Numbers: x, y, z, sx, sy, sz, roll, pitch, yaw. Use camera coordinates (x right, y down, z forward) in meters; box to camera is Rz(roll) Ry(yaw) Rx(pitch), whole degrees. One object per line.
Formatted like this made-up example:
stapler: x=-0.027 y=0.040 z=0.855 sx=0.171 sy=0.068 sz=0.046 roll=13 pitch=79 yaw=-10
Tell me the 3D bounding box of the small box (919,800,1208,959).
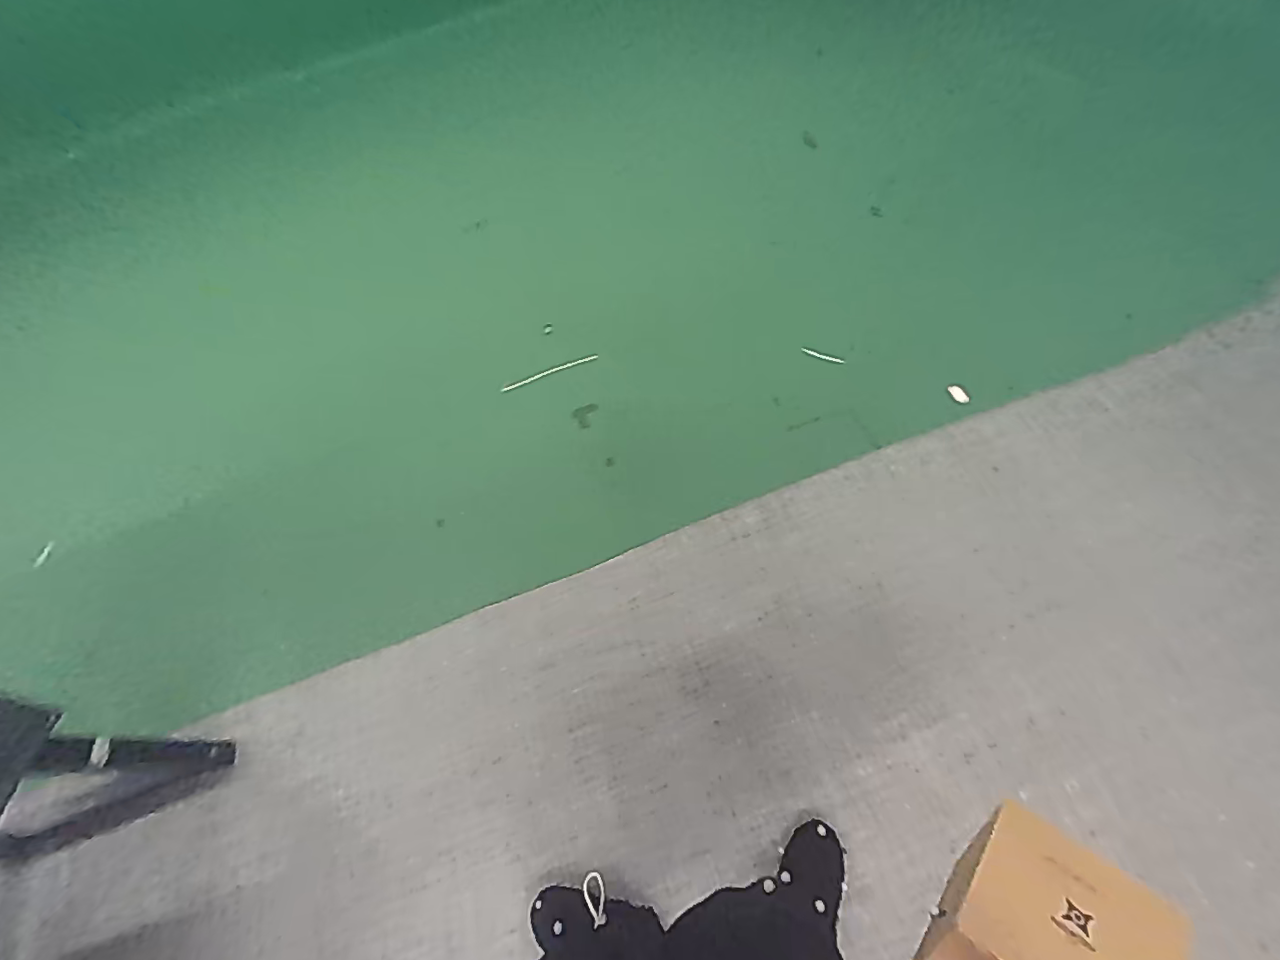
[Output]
small box: x=0.403 y=0.479 z=0.536 sx=0.168 sy=0.176 sz=0.179 roll=31 pitch=40 yaw=35
